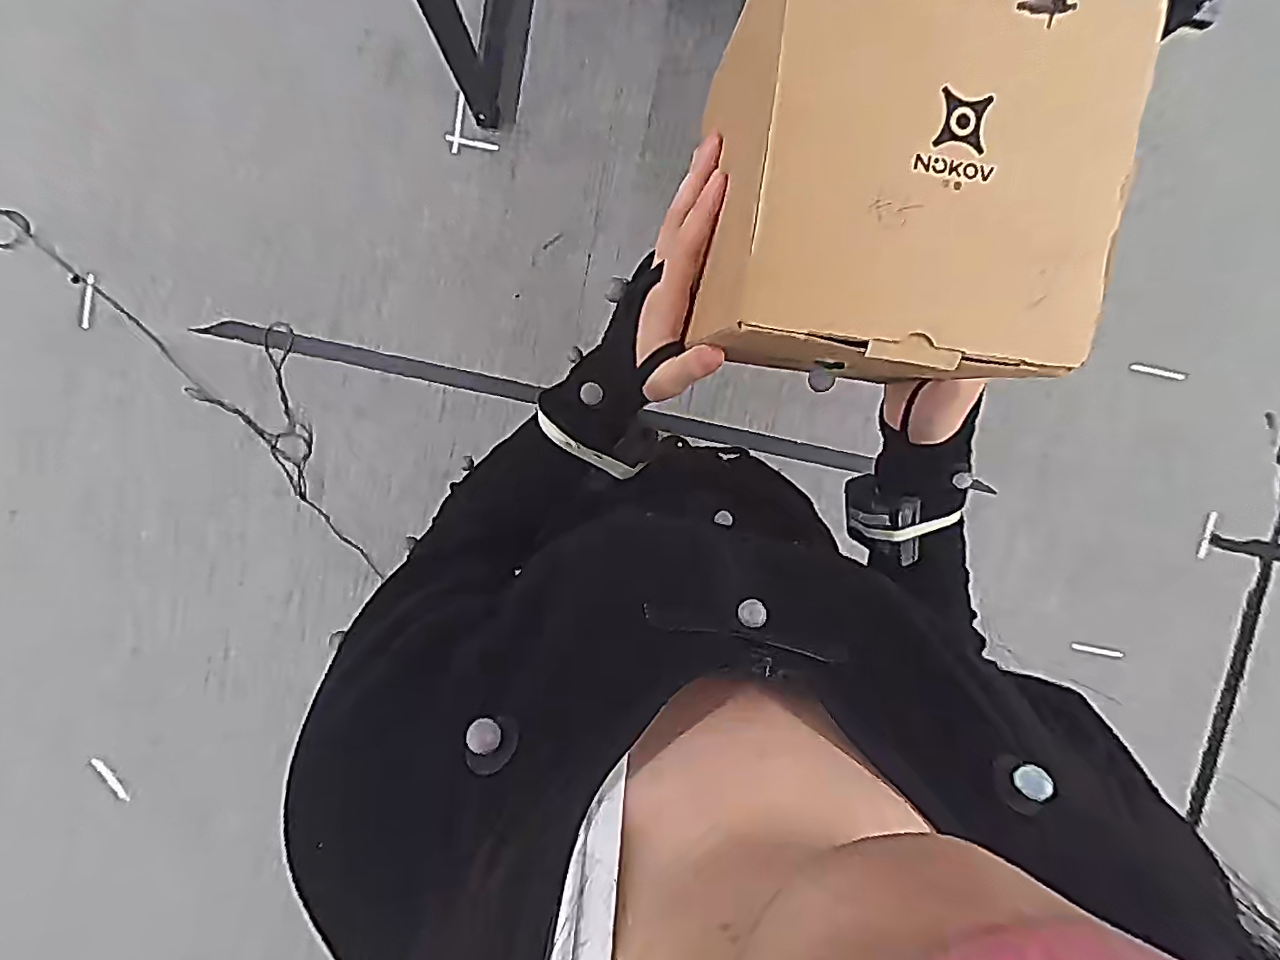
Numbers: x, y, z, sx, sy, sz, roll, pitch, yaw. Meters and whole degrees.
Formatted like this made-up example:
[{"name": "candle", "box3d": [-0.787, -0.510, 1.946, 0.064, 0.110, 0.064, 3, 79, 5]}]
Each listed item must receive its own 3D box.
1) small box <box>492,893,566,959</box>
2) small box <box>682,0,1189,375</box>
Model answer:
[{"name": "small box", "box3d": [-0.311, 1.298, 1.502, 0.179, 0.176, 0.168, 12, 94, -4]}, {"name": "small box", "box3d": [0.124, -0.155, 0.300, 0.168, 0.176, 0.179, 6, 99, -9]}]
